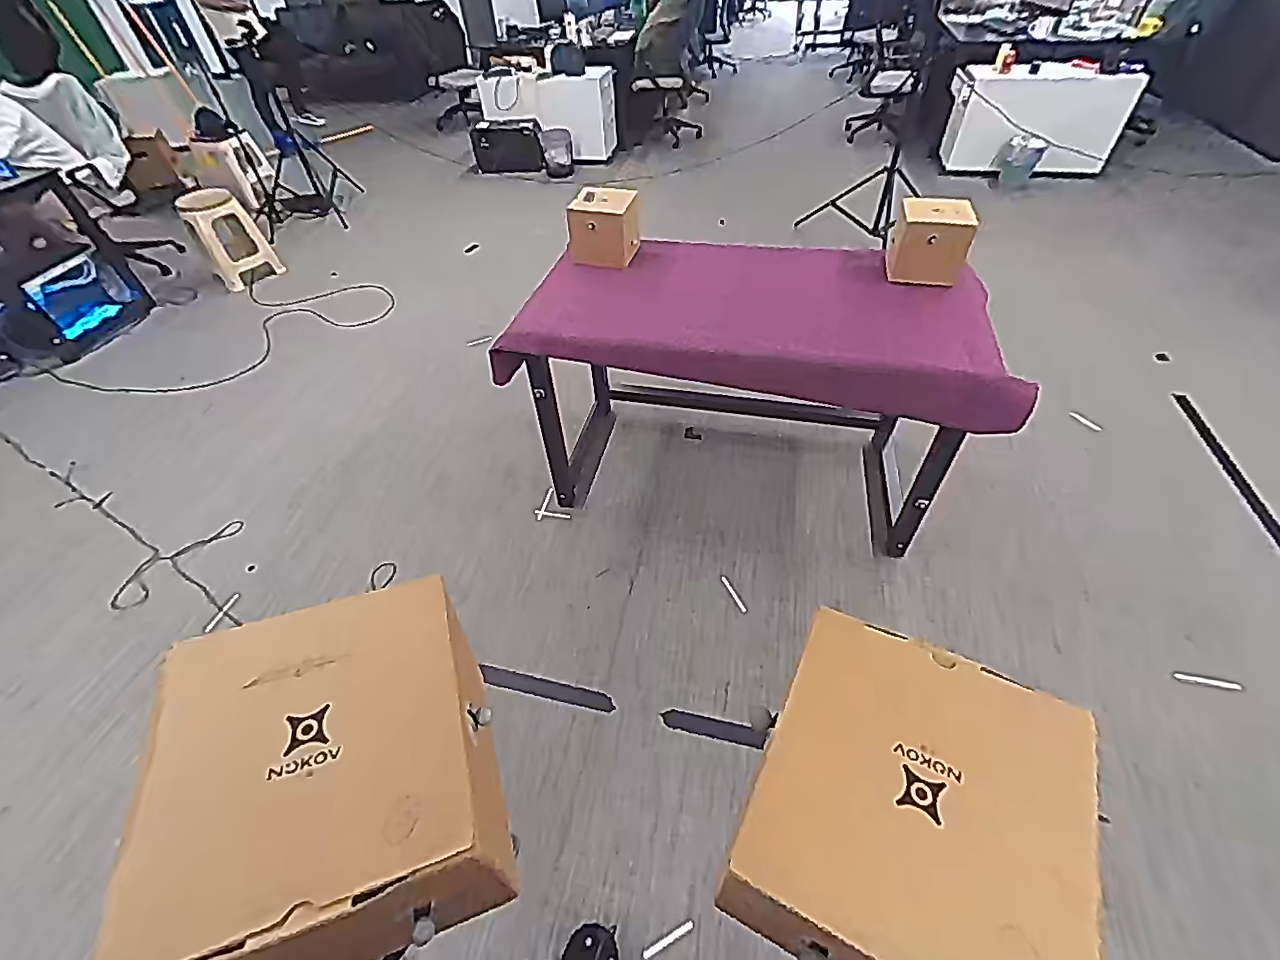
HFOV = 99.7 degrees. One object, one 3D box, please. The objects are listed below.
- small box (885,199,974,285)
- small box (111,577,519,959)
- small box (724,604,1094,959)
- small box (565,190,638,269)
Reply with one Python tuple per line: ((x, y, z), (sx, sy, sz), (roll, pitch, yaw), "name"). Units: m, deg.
((0.792, -0.659, 1.502), (0.179, 0.176, 0.168), (9, 49, 11), "small box")
((-0.185, 0.200, 0.364), (0.168, 0.176, 0.179), (-14, 47, -16), "small box")
((0.161, 0.223, 0.360), (0.168, 0.176, 0.179), (19, 50, 21), "small box")
((-0.111, -0.767, 1.660), (0.179, 0.176, 0.168), (11, 50, 11), "small box")
